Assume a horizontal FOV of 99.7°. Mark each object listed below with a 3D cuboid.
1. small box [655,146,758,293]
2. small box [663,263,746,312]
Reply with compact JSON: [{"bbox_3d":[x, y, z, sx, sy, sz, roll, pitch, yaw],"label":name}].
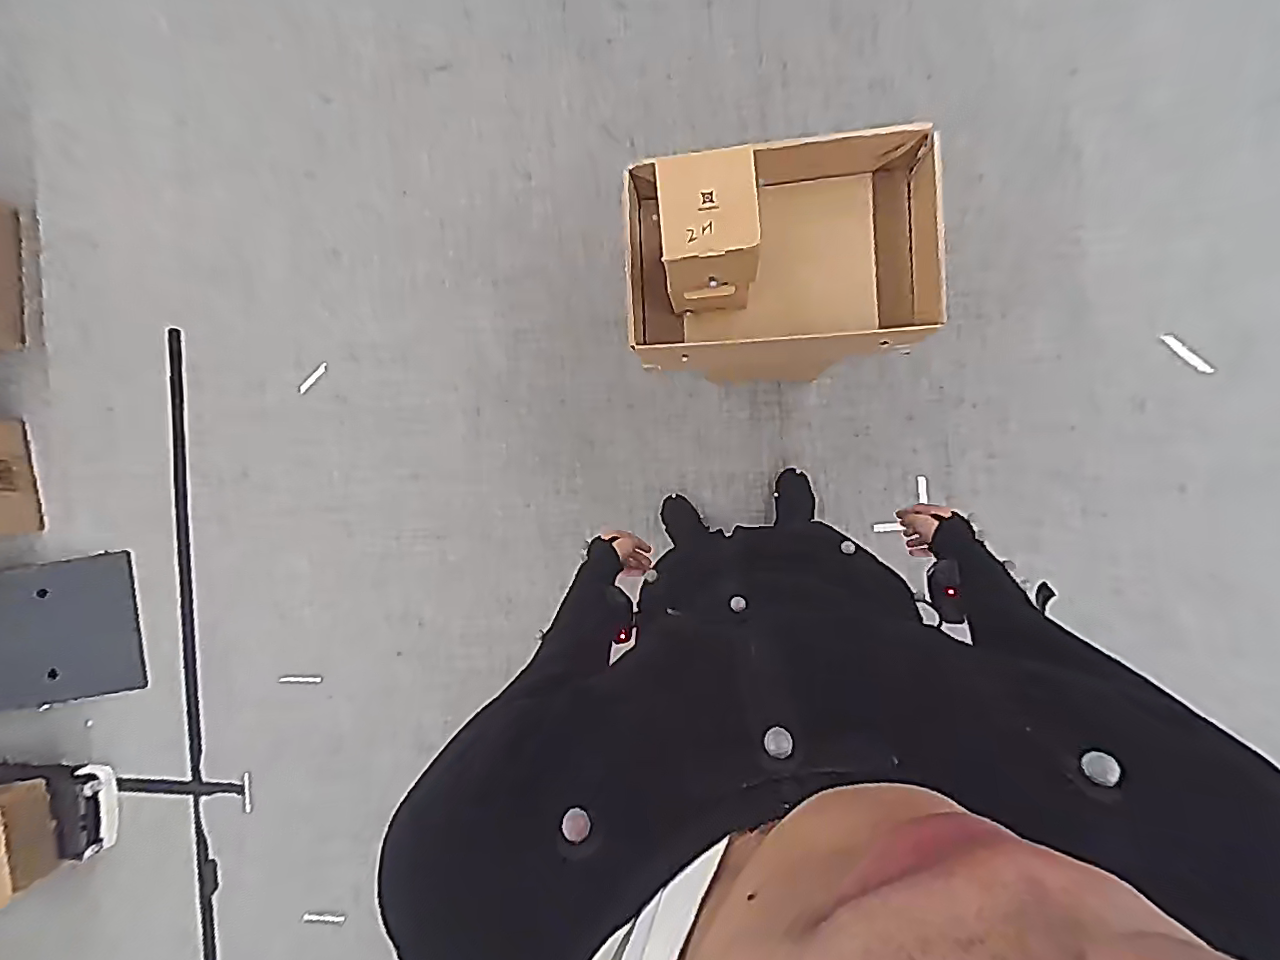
[{"bbox_3d":[0.121,-0.461,0.982,0.168,0.176,0.179,-5,90,9],"label":"small box"},{"bbox_3d":[0.138,-0.466,1.146,0.168,0.176,0.179,-3,89,9],"label":"small box"}]
